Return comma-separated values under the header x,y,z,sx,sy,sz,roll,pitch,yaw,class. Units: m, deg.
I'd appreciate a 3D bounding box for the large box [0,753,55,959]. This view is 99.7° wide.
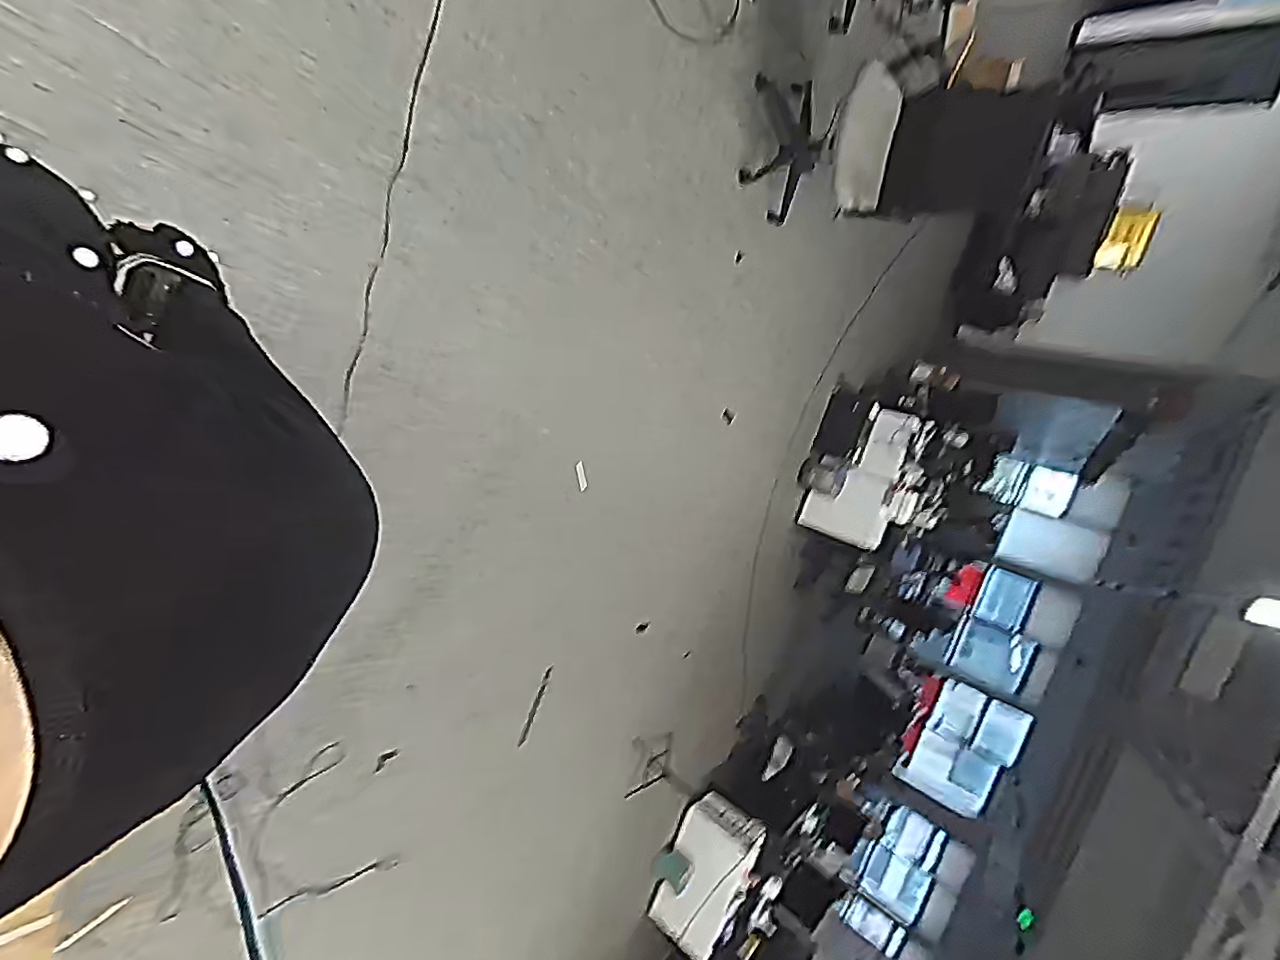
x,y,z,sx,sy,sz,roll,pitch,yaw,class
-1.374,0.775,0.966,0.408,0.320,0.320,3,105,-54,large box
